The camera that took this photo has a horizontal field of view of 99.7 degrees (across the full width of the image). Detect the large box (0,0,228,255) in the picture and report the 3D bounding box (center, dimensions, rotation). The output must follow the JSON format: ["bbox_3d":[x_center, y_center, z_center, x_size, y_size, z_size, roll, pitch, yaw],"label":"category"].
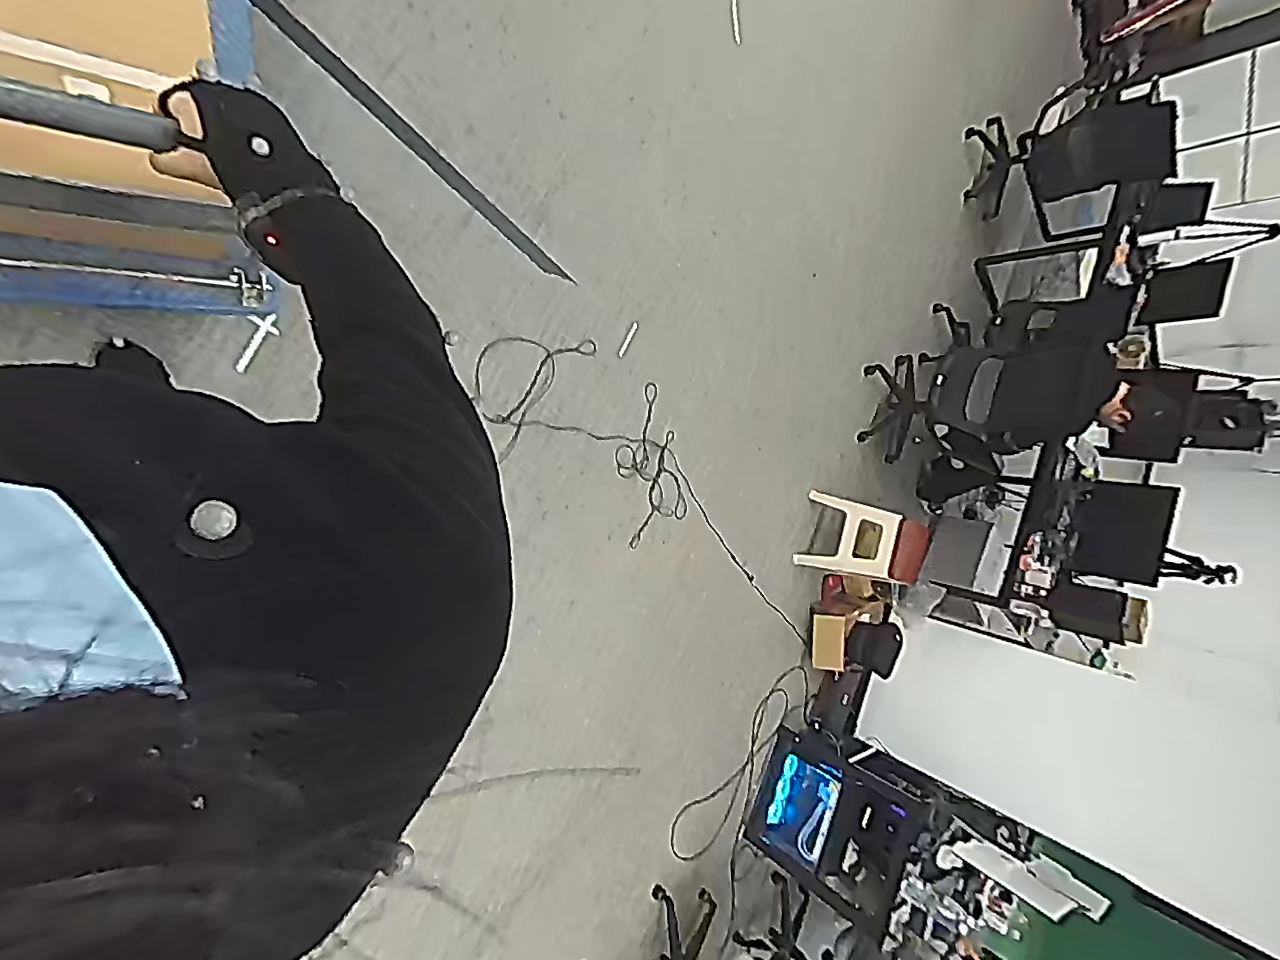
[{"bbox_3d":[-0.856,-0.529,0.750,0.408,0.320,0.320,-8,103,-42],"label":"large box"}]
